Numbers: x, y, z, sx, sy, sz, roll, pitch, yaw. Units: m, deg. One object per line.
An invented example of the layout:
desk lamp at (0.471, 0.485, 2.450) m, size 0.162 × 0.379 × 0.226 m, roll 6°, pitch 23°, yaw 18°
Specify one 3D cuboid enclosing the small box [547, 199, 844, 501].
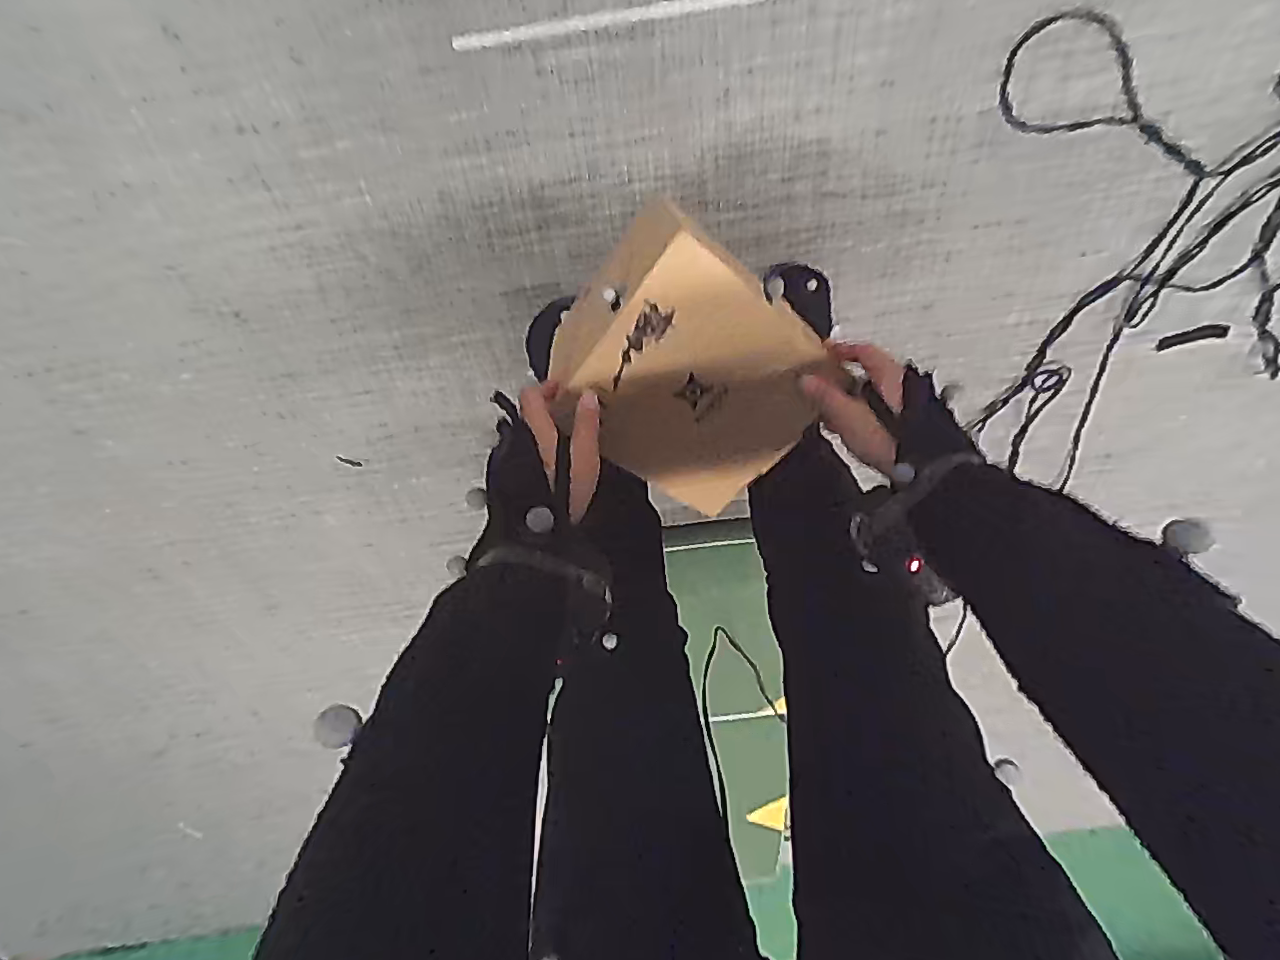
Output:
small box at (0.037, -0.119, 0.480) m, size 0.179 × 0.176 × 0.168 m, roll 29°, pitch 118°, yaw -24°
